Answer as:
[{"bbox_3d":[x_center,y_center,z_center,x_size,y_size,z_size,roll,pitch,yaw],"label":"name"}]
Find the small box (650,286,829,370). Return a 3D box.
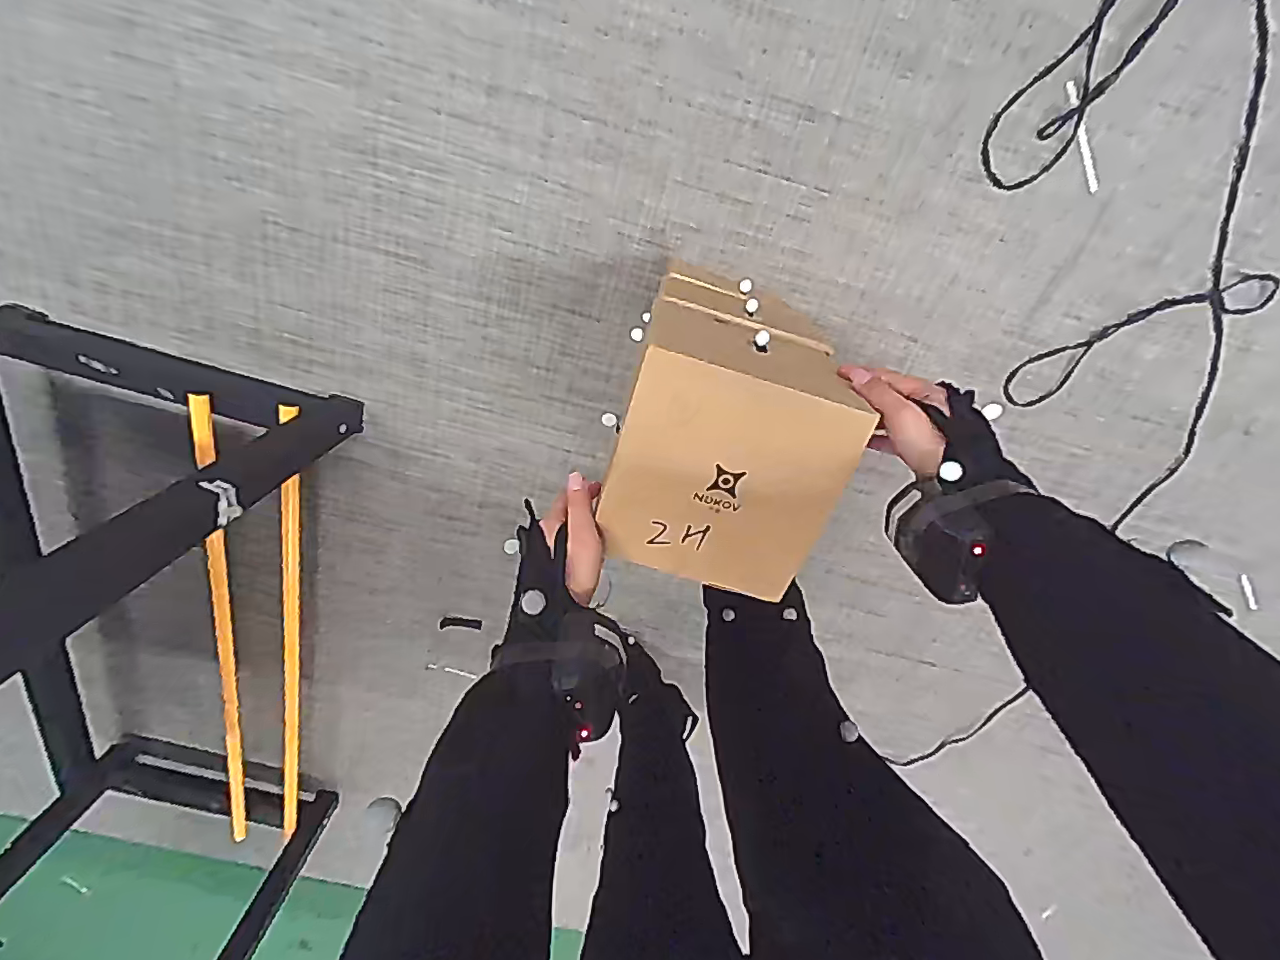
[{"bbox_3d":[0.082,-0.111,0.614,0.179,0.176,0.168,16,115,-3],"label":"small box"}]

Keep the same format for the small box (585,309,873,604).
[{"bbox_3d":[0.061,-0.030,0.465,0.168,0.176,0.179,16,119,-4],"label":"small box"}]

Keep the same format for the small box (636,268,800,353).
[{"bbox_3d":[0.094,-0.186,0.758,0.179,0.176,0.168,17,116,-6],"label":"small box"}]
